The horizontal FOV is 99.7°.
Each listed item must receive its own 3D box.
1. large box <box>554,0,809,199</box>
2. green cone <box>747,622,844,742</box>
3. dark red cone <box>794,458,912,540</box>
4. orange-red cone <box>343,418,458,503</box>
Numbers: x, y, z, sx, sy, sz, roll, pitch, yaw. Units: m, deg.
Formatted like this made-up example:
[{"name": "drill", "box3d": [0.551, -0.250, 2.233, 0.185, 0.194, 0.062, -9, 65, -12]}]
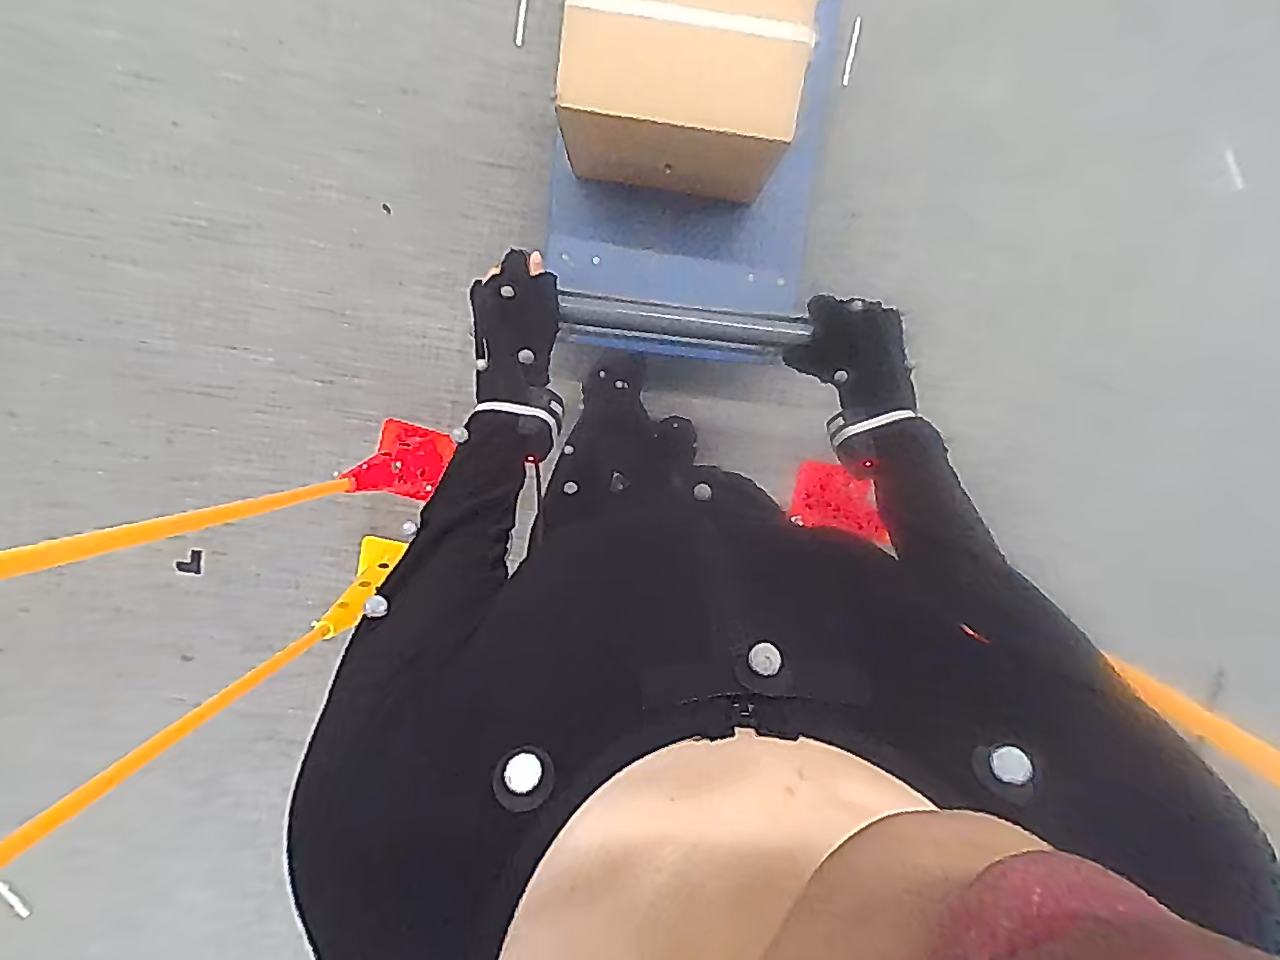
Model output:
[{"name": "large box", "box3d": [0.073, -0.765, 1.029, 0.408, 0.320, 0.320, 8, 100, -1]}, {"name": "green cone", "box3d": [0.426, 0.541, 1.379, 0.202, 0.368, 0.200, 13, 99, -3]}, {"name": "dark red cone", "box3d": [0.527, 0.075, 1.289, 0.201, 0.394, 0.202, 9, 99, -3]}, {"name": "orange-red cone", "box3d": [-0.603, -0.028, 1.290, 0.198, 0.360, 0.199, 17, 97, -4]}]
